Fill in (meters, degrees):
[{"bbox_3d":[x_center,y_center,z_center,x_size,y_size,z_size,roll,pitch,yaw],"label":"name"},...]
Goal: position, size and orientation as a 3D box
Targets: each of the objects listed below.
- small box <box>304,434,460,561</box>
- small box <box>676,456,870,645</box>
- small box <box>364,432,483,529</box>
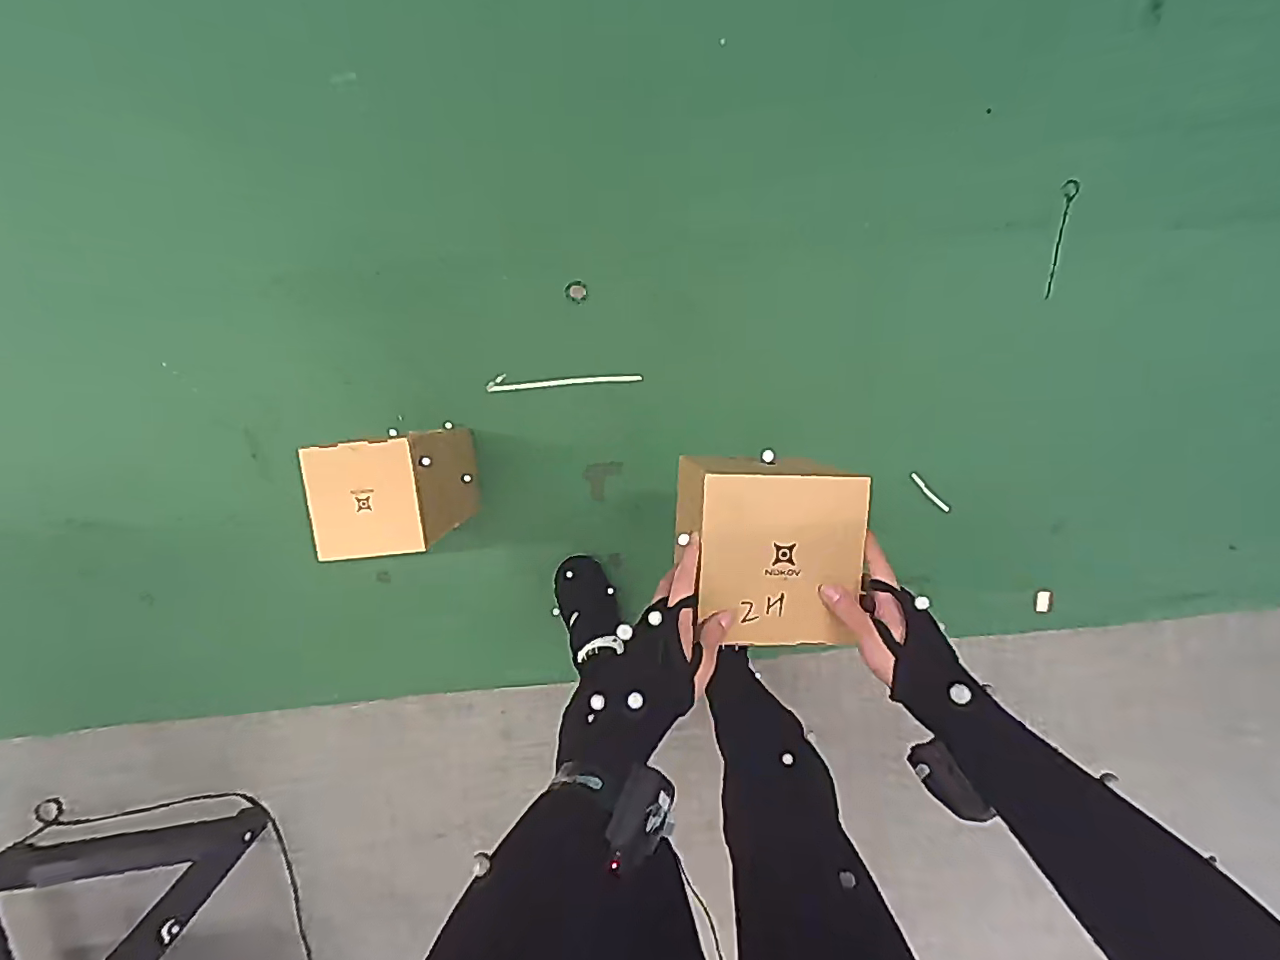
[{"bbox_3d":[-0.409,0.022,0.889,0.168,0.176,0.179,-6,97,0],"label":"small box"},{"bbox_3d":[0.134,0.068,0.611,0.168,0.176,0.179,2,99,-4],"label":"small box"},{"bbox_3d":[-0.415,-0.001,1.049,0.168,0.176,0.179,-5,99,0],"label":"small box"}]
